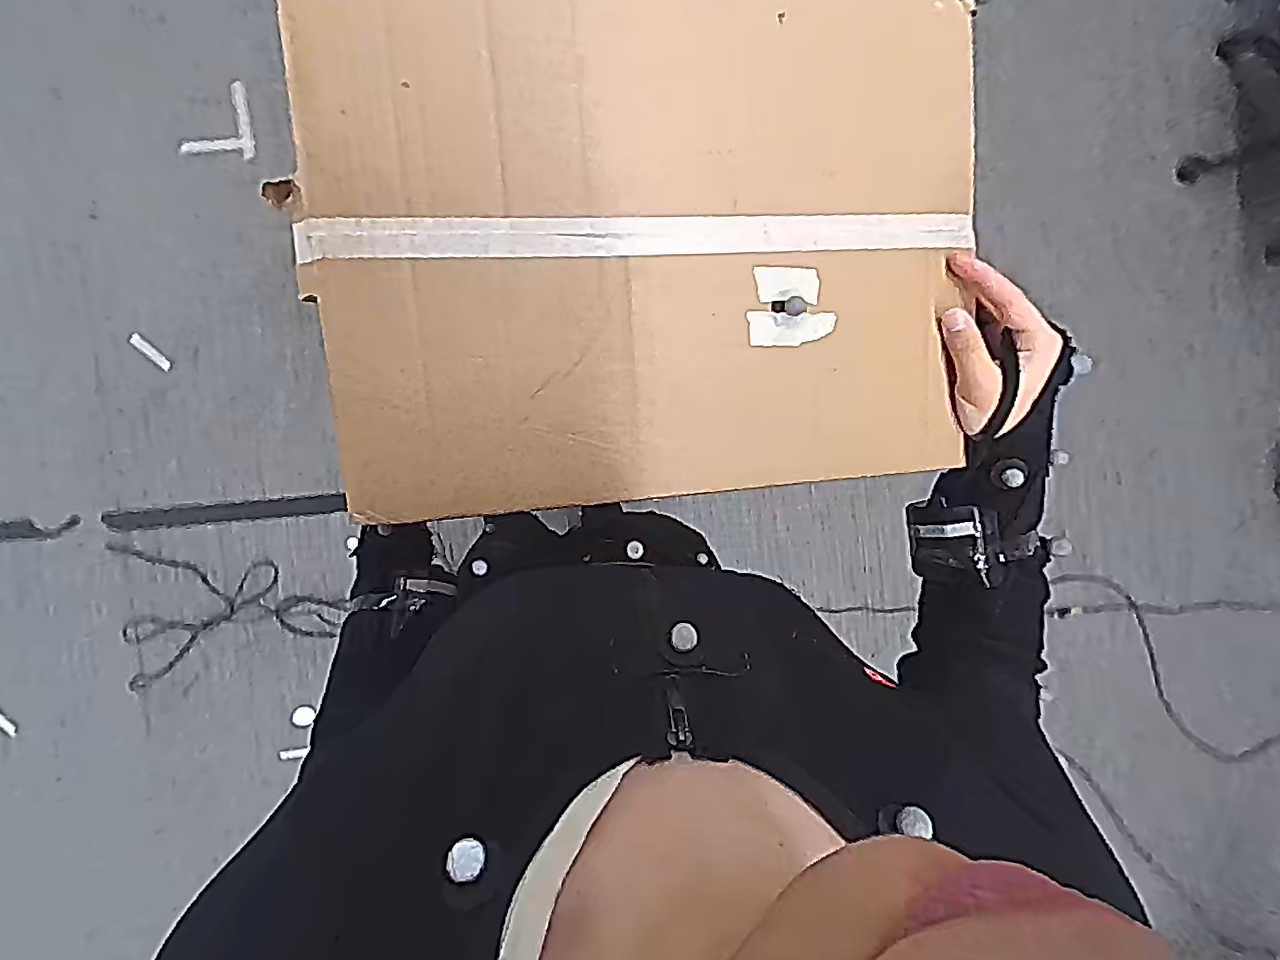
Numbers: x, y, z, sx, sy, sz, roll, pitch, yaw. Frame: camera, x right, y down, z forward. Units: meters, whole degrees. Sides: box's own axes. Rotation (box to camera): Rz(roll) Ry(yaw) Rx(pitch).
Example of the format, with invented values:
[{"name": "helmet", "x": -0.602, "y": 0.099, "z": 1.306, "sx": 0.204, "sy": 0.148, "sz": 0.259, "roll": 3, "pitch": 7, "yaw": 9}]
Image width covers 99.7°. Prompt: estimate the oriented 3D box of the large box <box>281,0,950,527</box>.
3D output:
[{"name": "large box", "x": -0.015, "y": -0.161, "z": 0.480, "sx": 0.408, "sy": 0.320, "sz": 0.320, "roll": -7, "pitch": 98, "yaw": -12}]
